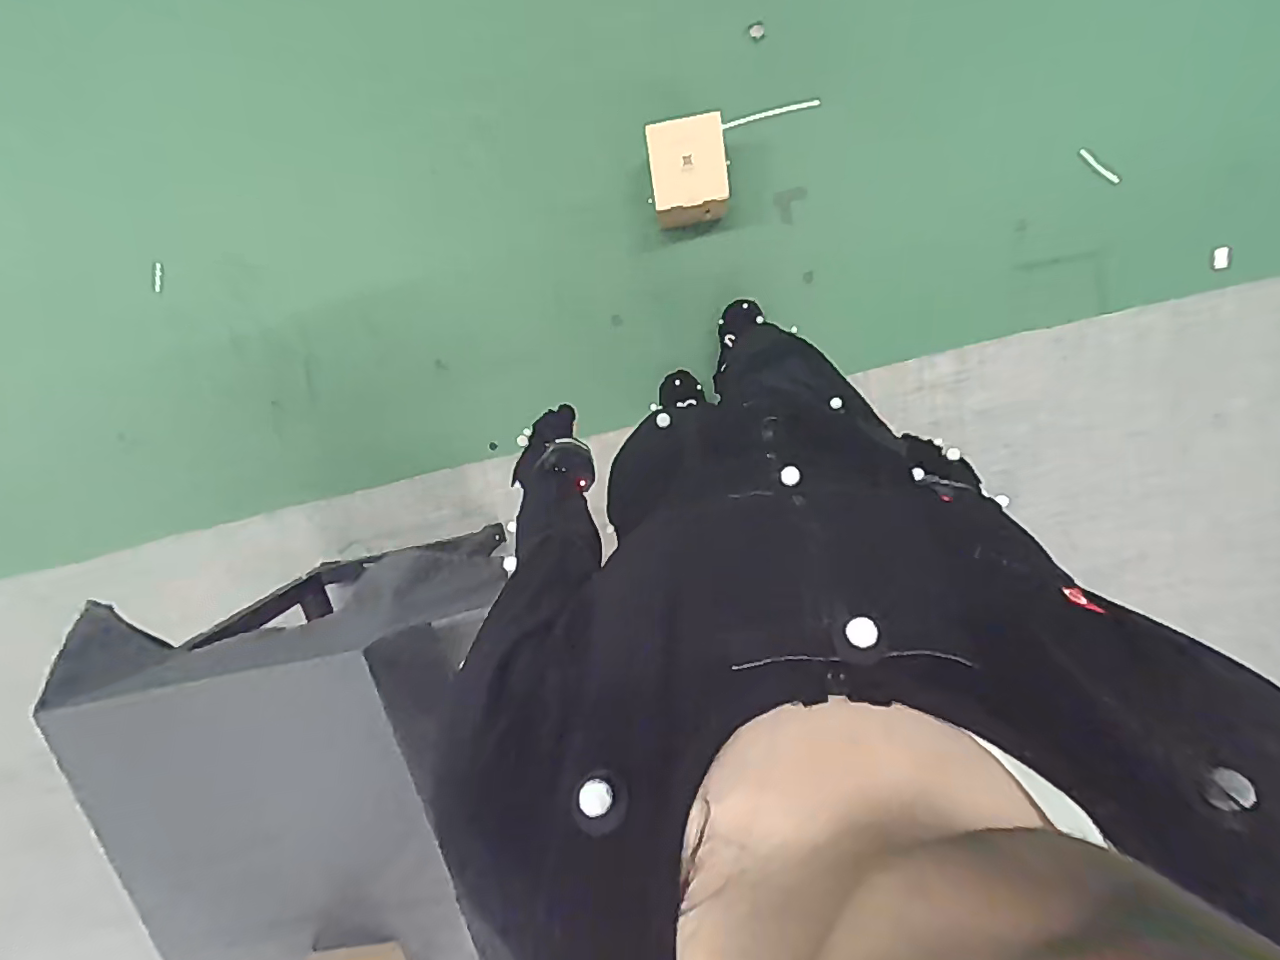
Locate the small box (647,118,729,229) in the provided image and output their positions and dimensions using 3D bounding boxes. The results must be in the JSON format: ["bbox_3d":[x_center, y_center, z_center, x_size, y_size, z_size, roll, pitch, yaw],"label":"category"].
[{"bbox_3d":[0.112,-0.701,1.262,0.168,0.176,0.179,-8,101,5],"label":"small box"}]

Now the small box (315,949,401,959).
[{"bbox_3d":[-0.497,0.930,0.899,0.179,0.176,0.168,-13,100,8],"label":"small box"}]
